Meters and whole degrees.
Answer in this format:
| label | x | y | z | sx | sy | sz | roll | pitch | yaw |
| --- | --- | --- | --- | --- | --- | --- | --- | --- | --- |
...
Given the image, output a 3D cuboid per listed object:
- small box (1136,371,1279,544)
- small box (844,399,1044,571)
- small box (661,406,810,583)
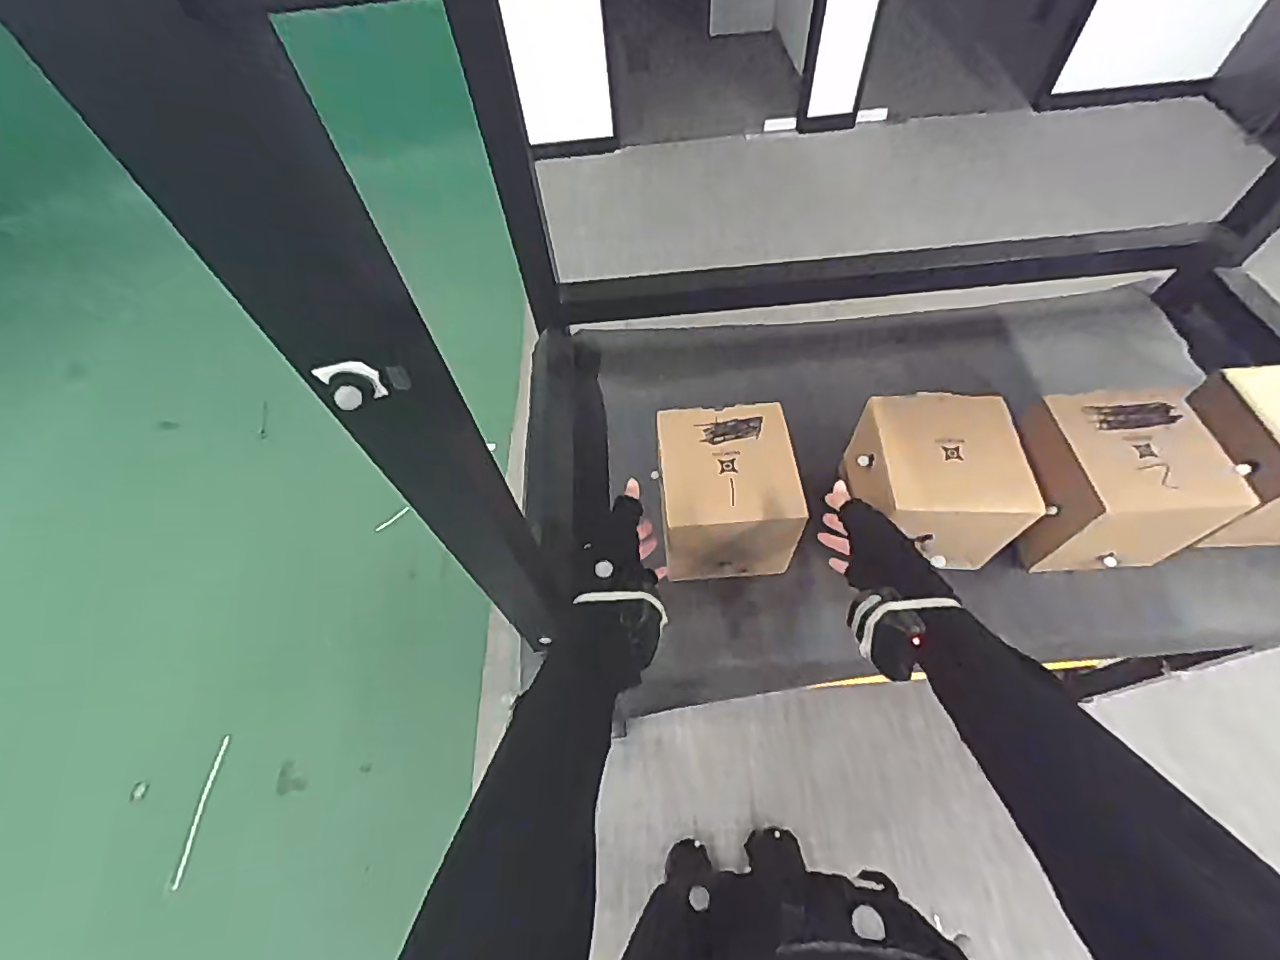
| label | x | y | z | sx | sy | sz | roll | pitch | yaw |
| --- | --- | --- | --- | --- | --- | --- | --- | --- | --- |
| small box | 0.825 | -0.023 | 0.707 | 0.168 | 0.176 | 0.179 | -2 | 56 | 3 |
| small box | 0.386 | 0.012 | 0.725 | 0.168 | 0.176 | 0.179 | 1 | 57 | 5 |
| small box | 0.116 | 0.024 | 0.736 | 0.168 | 0.176 | 0.179 | -5 | 58 | 2 |
